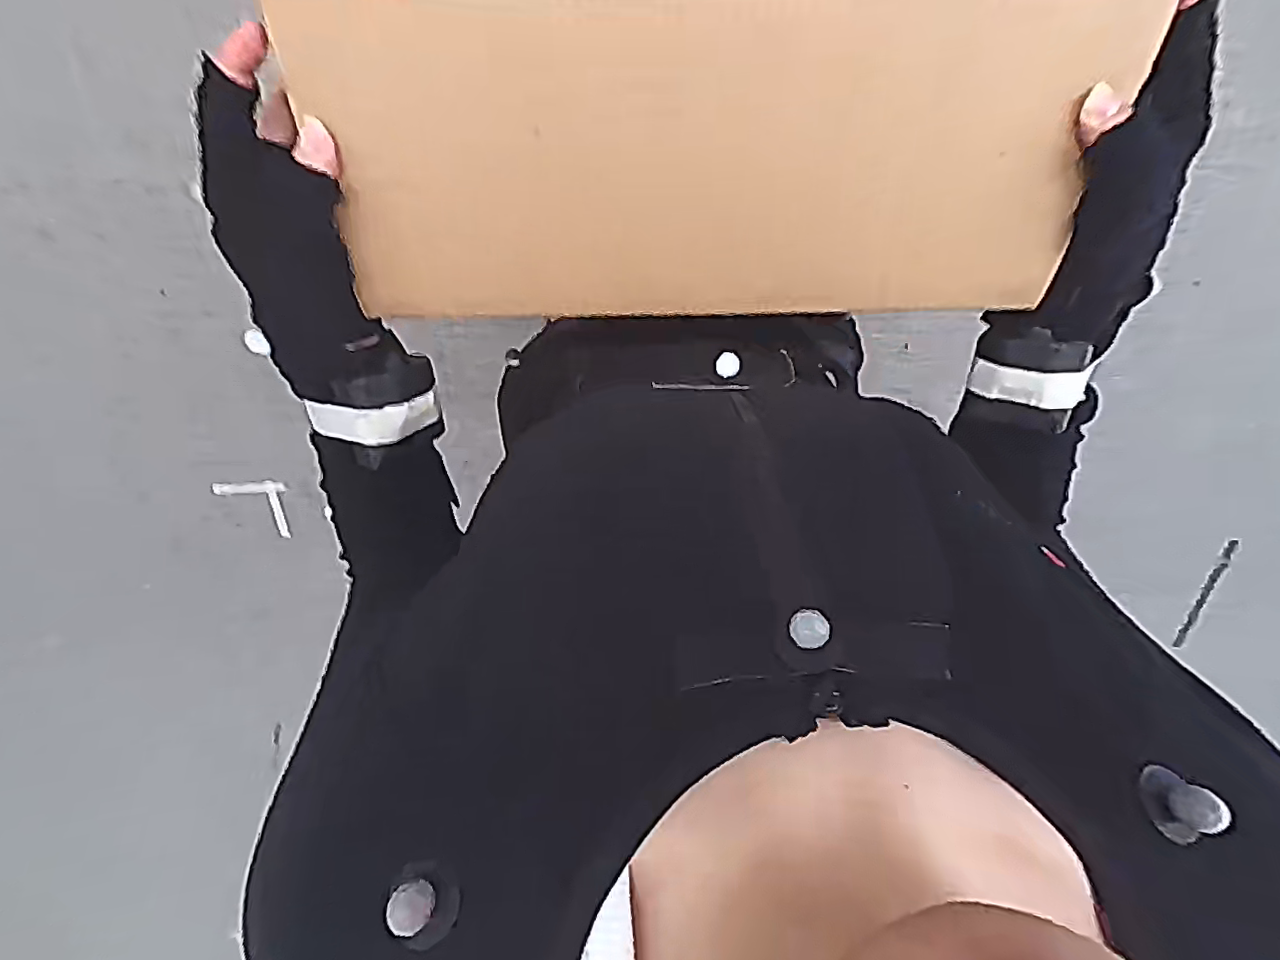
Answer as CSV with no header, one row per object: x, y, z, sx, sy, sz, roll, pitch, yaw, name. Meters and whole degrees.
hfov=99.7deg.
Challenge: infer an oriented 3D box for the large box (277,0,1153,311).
0.031,-0.321,0.352,0.408,0.320,0.320,-1,130,-1,large box
